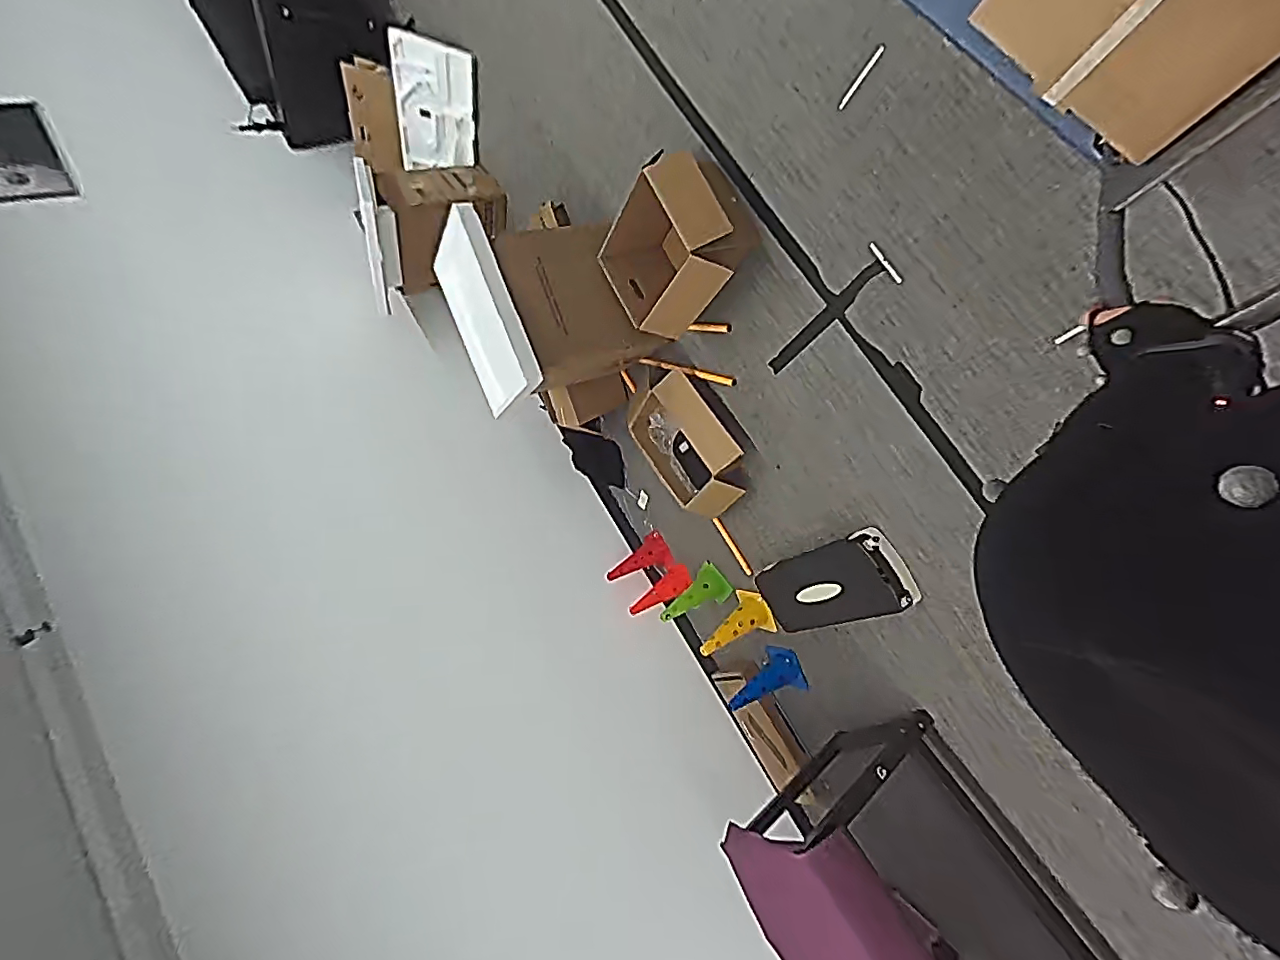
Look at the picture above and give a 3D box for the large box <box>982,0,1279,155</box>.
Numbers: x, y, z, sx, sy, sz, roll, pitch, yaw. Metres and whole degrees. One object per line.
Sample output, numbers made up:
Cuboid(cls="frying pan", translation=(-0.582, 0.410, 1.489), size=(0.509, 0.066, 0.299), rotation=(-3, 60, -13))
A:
Cuboid(cls="large box", translation=(0.722, -0.710, 0.649), size=(0.320, 0.320, 0.408), rotation=(39, 147, 0))
